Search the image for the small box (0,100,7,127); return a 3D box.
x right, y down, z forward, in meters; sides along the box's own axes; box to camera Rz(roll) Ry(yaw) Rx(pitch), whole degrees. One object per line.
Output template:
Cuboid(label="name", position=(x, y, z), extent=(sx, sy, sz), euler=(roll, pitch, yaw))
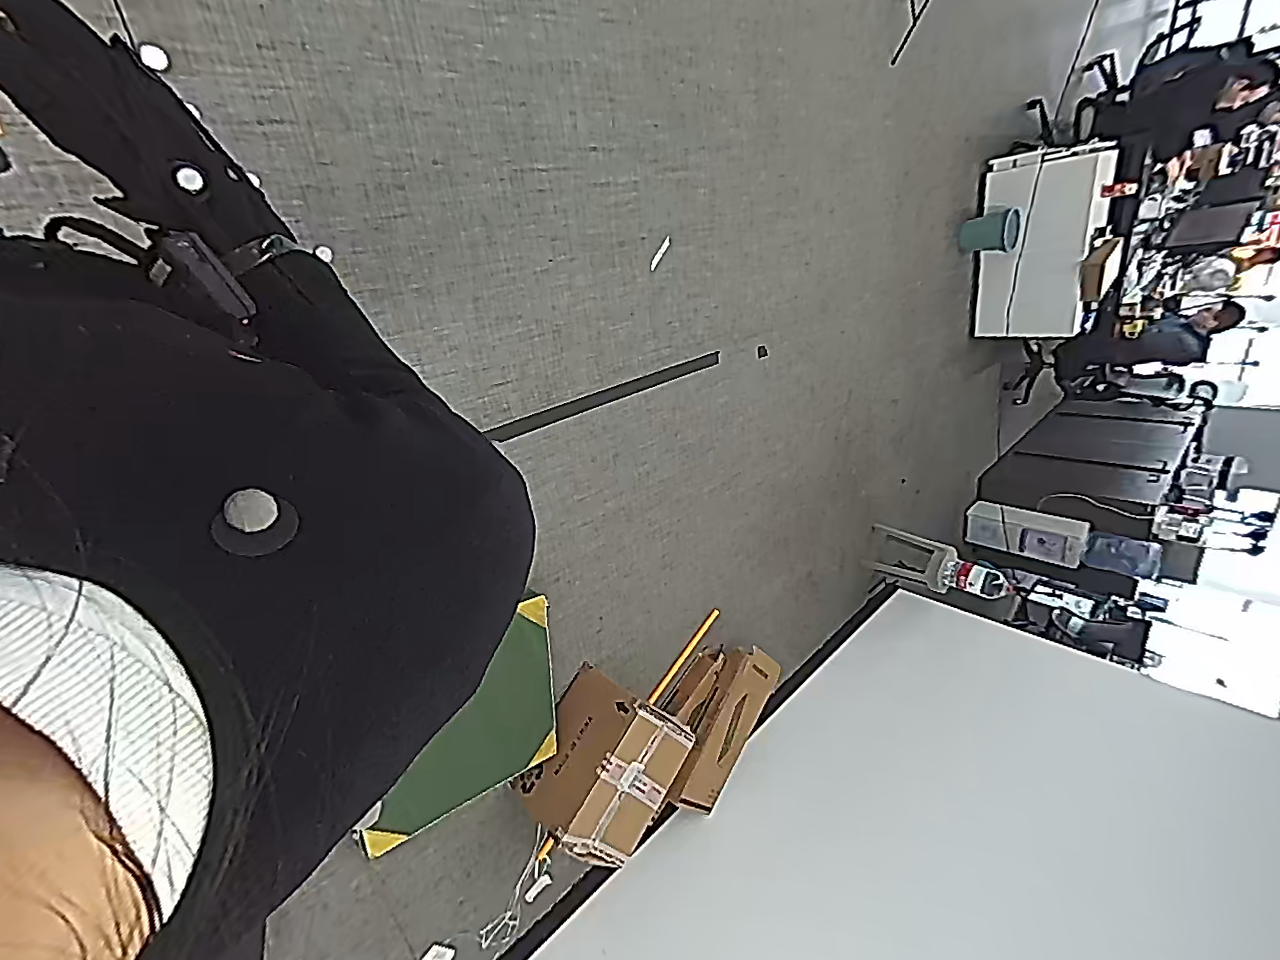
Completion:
Cuboid(label="small box", position=(-0.391, -0.222, 0.193), extent=(0.168, 0.179, 0.176), euler=(-28, 138, -34))
